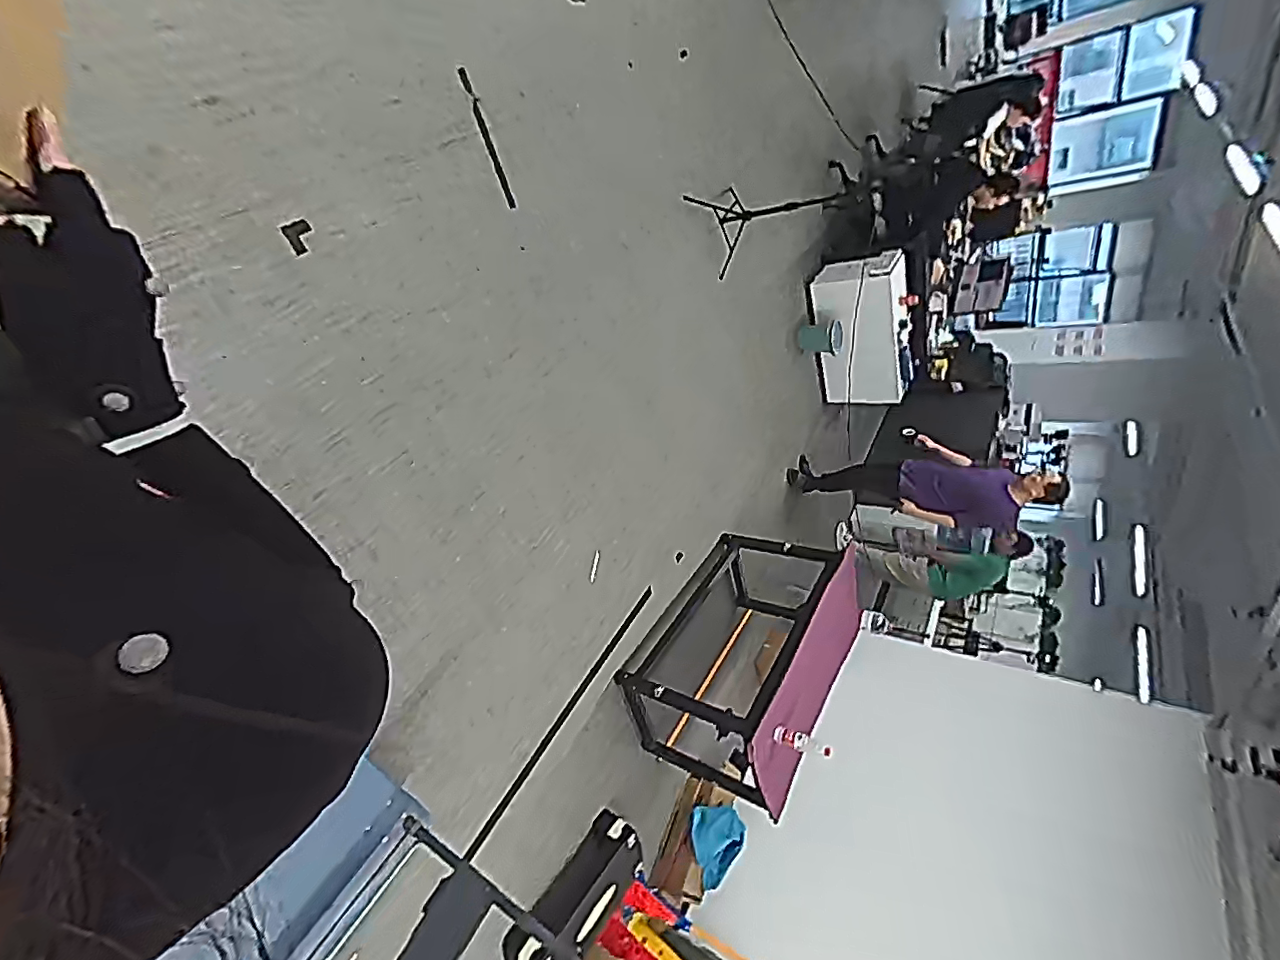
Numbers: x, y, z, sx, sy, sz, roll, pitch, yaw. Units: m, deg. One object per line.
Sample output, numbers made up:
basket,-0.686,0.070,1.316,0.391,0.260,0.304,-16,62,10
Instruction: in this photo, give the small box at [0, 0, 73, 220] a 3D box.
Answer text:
small box,-0.422,-0.243,0.241,0.179,0.168,0.176,0,90,-12
